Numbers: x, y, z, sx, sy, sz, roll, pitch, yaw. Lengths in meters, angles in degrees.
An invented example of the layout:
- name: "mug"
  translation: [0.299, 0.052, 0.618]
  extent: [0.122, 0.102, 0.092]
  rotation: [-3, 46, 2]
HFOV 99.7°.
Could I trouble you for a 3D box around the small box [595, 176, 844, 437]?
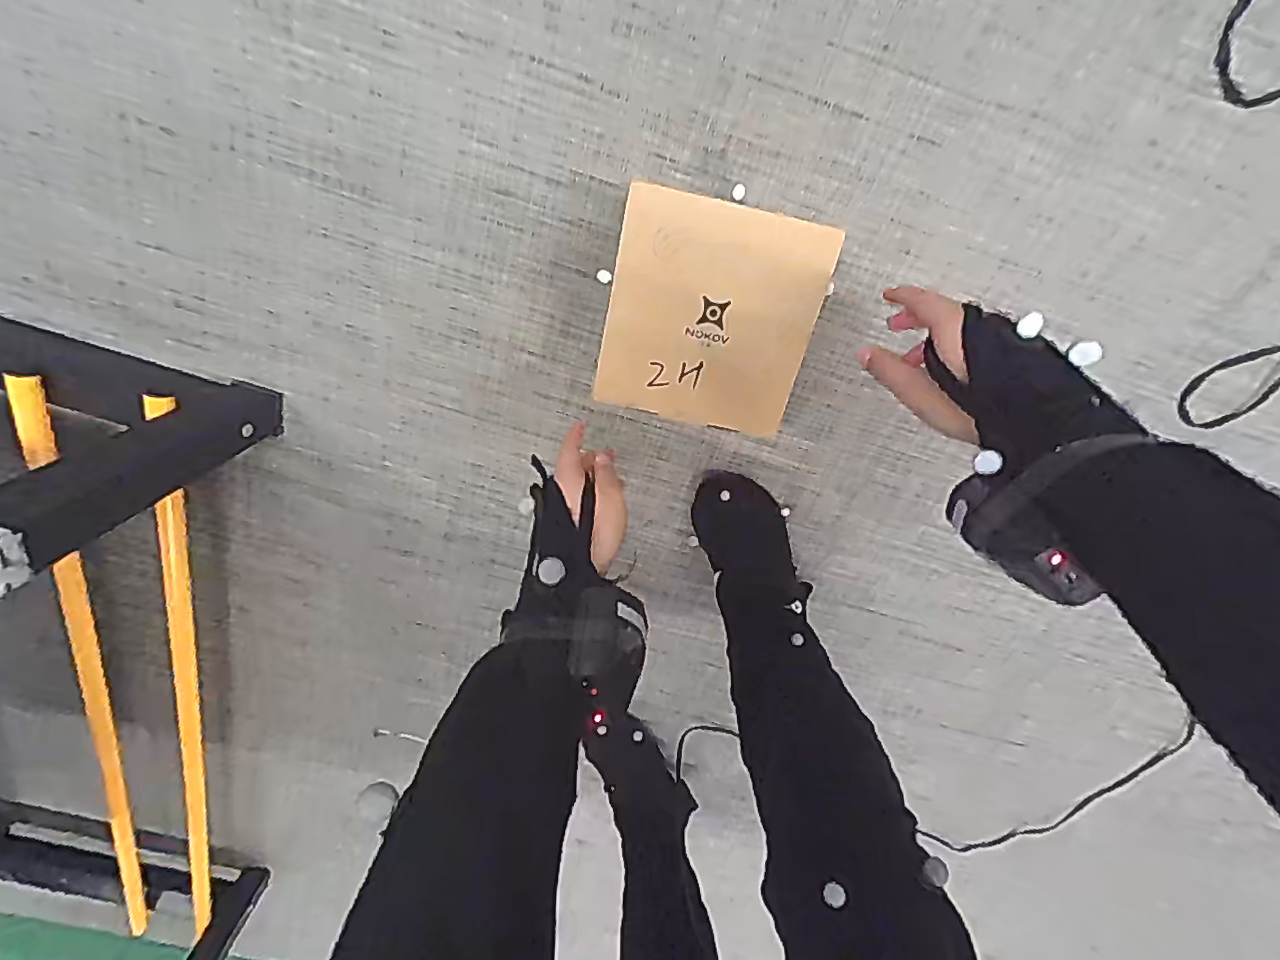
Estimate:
- name: "small box"
  translation: [0.060, -0.165, 0.507]
  extent: [0.168, 0.176, 0.179]
  rotation: [12, 117, -3]
